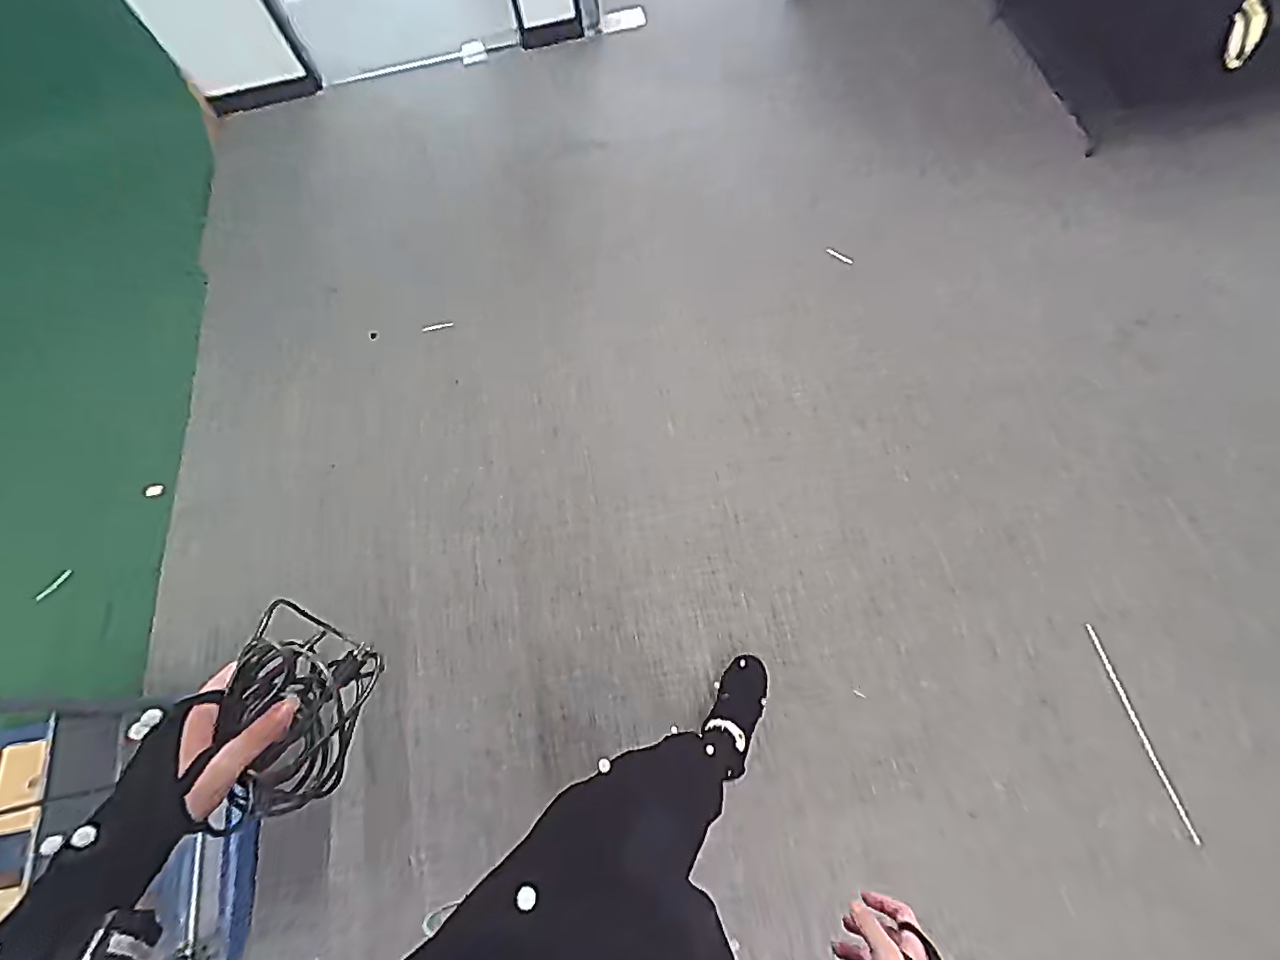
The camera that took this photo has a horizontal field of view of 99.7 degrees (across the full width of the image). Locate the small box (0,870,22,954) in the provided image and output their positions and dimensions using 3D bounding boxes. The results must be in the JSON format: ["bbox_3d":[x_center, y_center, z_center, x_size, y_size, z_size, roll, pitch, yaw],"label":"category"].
[{"bbox_3d":[-1.431,0.921,1.091,0.179,0.176,0.168,-15,67,-2],"label":"small box"}]

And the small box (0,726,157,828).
[{"bbox_3d":[-1.231,0.645,1.187,0.179,0.176,0.168,-11,68,-1],"label":"small box"}]
